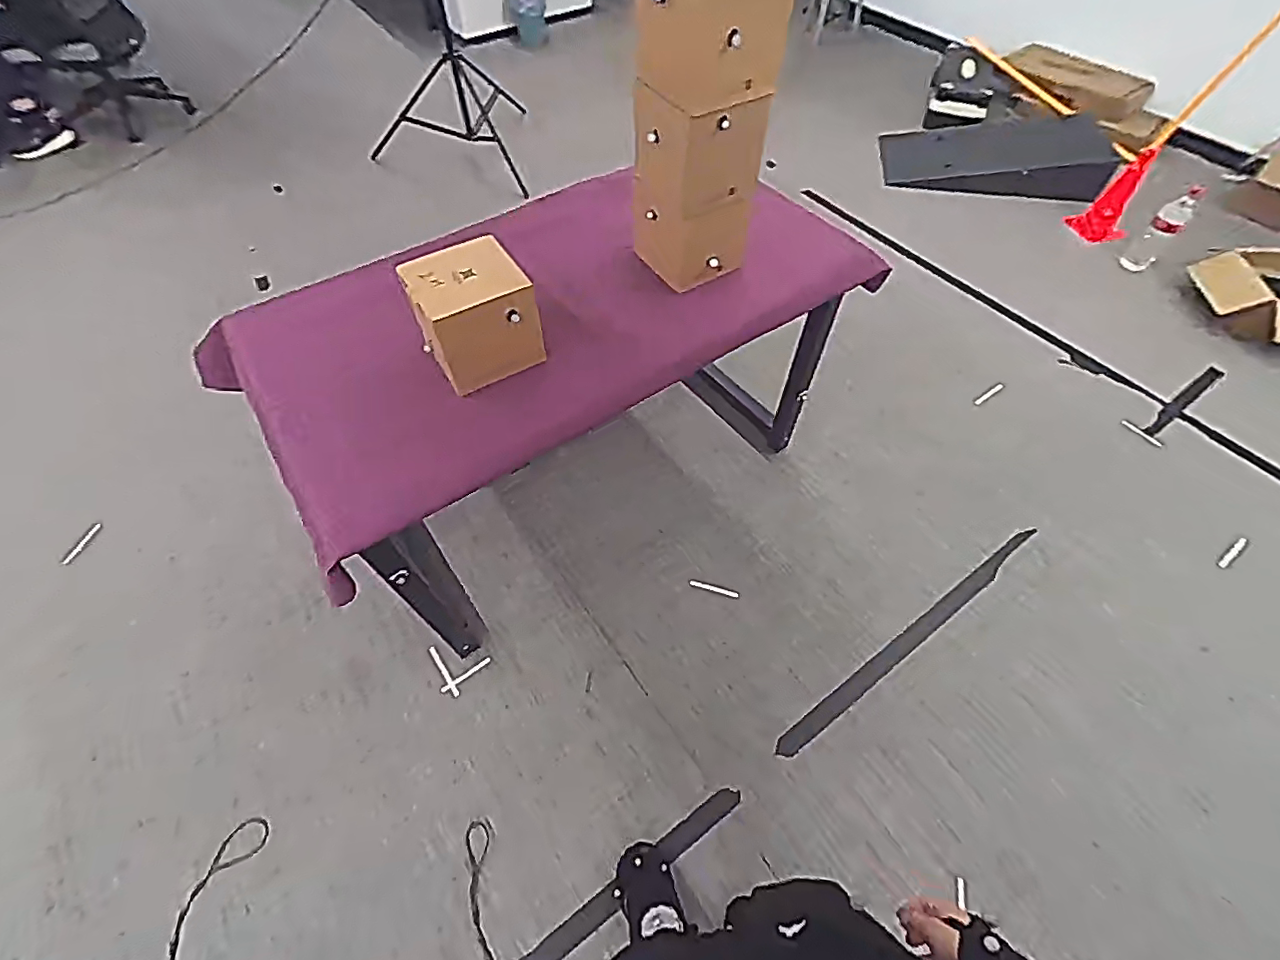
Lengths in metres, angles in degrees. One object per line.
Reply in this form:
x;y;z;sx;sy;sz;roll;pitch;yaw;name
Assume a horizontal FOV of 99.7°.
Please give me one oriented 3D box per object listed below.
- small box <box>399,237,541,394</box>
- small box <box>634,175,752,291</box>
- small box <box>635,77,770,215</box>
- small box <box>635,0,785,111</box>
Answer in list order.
-0.286;-0.285;0.949;0.179;0.176;0.168;-28;61;-17;small box
0.099;-0.521;1.102;0.168;0.176;0.179;-29;62;-17;small box
0.101;-0.607;0.963;0.168;0.176;0.179;-27;60;-16;small box
0.105;-0.691;0.823;0.168;0.176;0.179;-27;61;-16;small box
